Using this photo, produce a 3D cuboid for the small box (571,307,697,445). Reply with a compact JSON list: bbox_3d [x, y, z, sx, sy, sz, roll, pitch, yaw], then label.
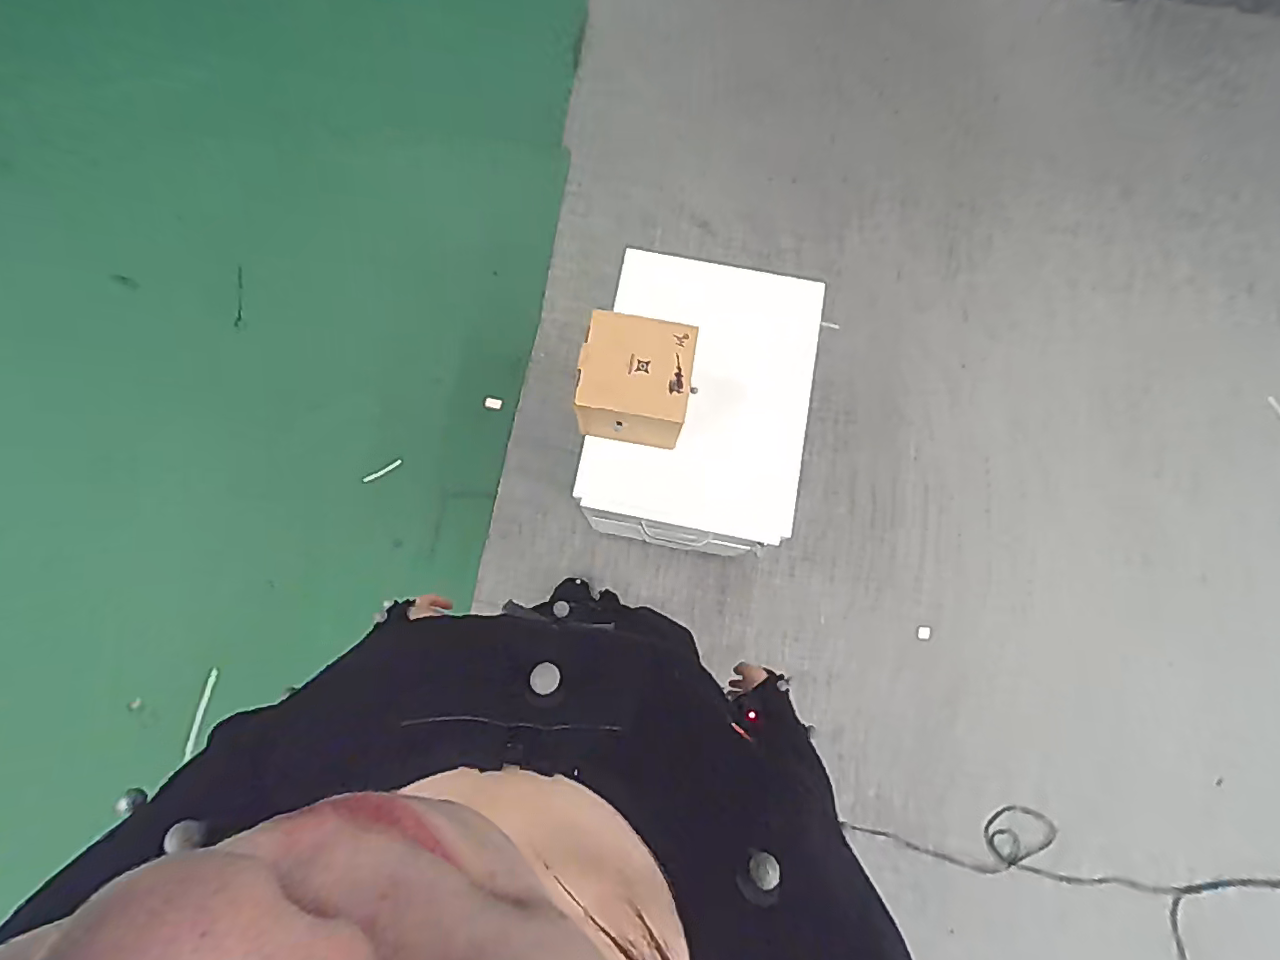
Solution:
[{"bbox_3d":[-0.010,-0.167,0.921,0.179,0.176,0.168,10,79,0],"label":"small box"}]
